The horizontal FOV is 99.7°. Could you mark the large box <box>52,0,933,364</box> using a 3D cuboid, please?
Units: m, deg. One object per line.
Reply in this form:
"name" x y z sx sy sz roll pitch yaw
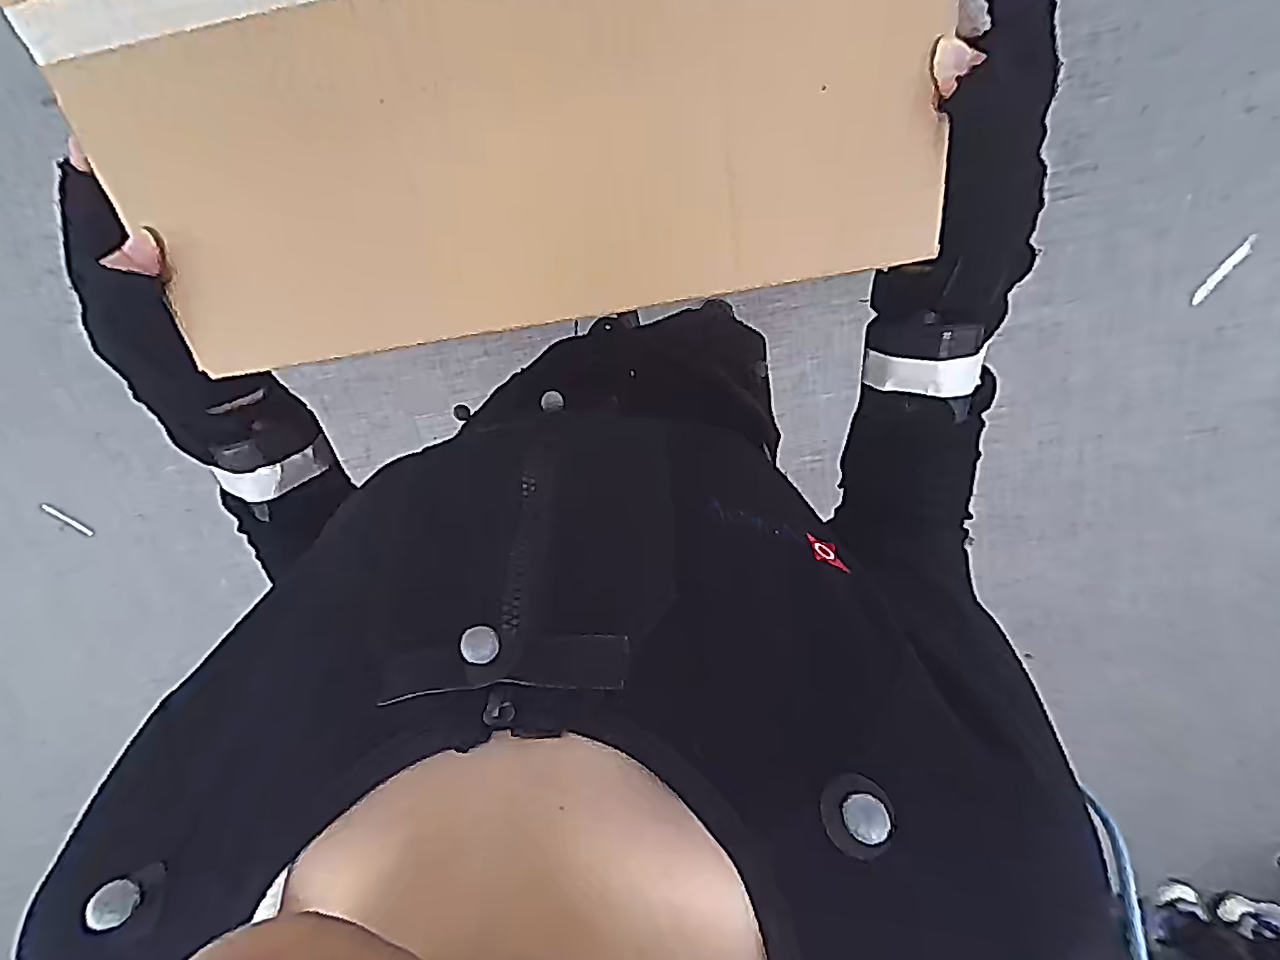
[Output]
"large box" -0.071 -0.297 0.371 0.408 0.320 0.320 -8 116 5
